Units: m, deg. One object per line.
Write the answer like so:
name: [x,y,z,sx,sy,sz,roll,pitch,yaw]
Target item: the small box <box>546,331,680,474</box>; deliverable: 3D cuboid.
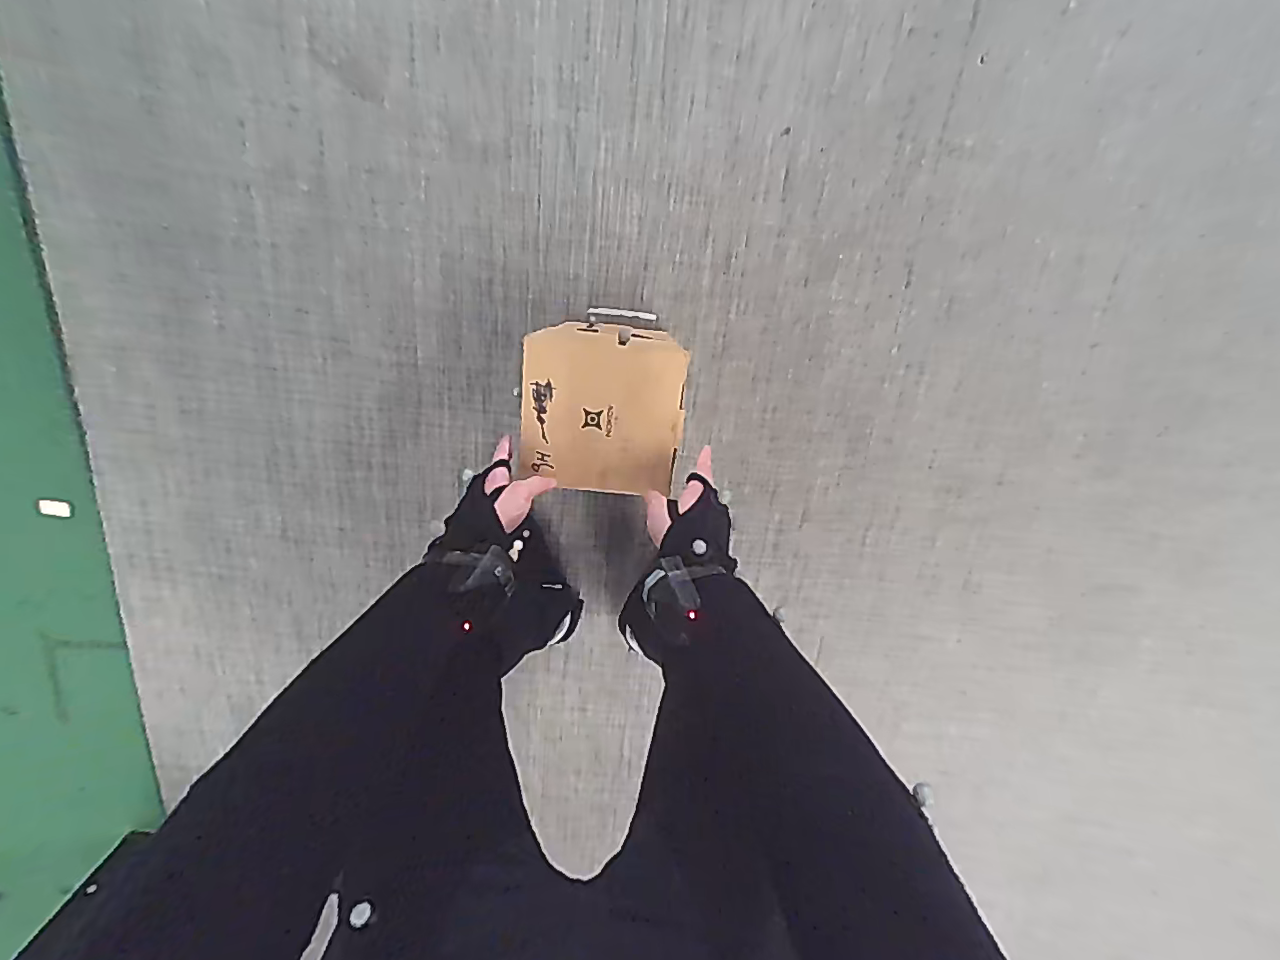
small box: [-0.040,-0.124,0.813,0.168,0.176,0.179,8,108,-2]
